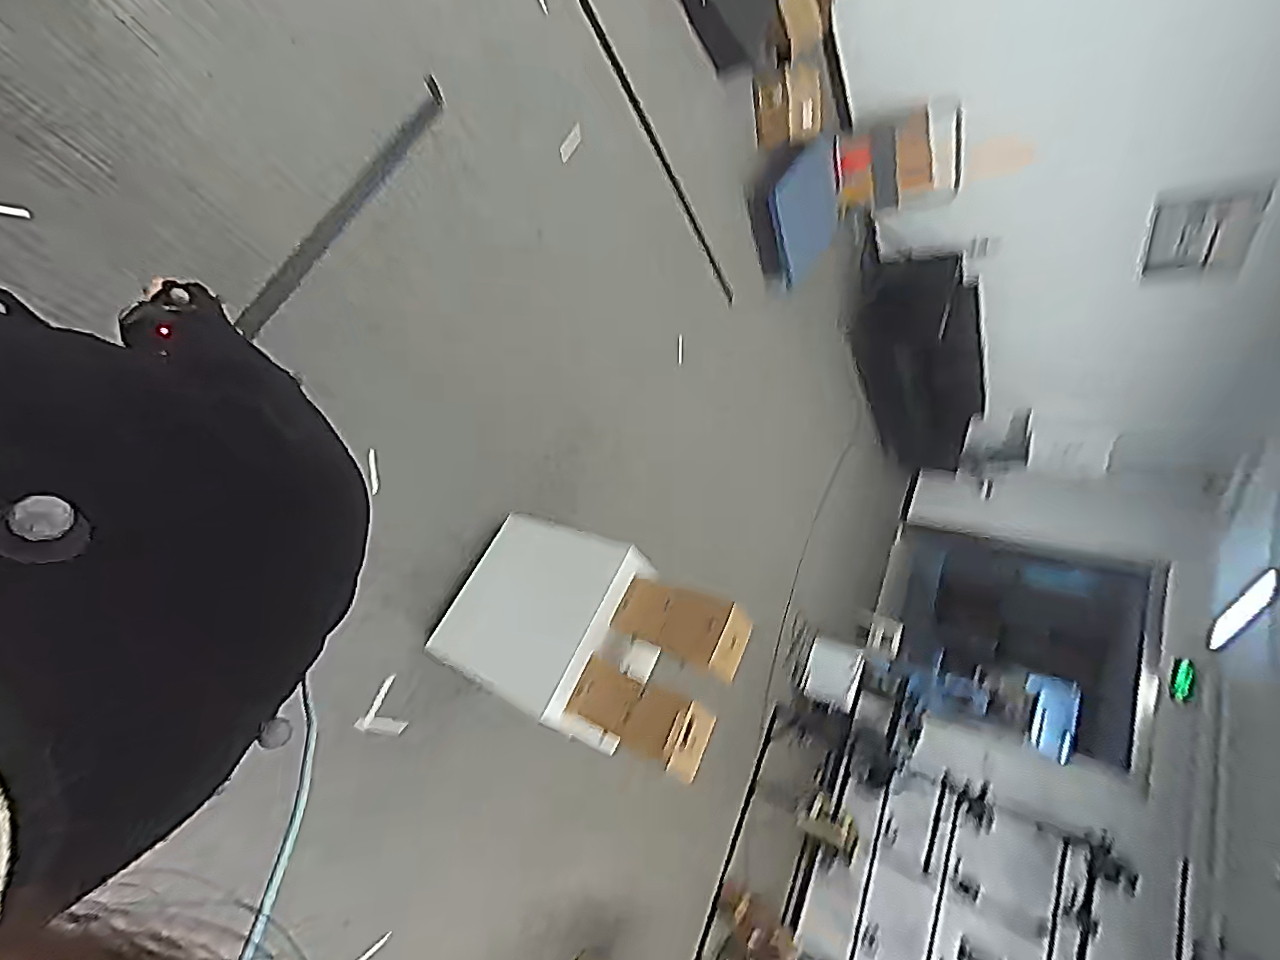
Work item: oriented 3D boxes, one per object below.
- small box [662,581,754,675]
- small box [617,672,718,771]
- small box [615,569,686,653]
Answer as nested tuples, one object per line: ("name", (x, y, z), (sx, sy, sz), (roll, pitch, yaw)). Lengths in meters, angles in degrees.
("small box", (0.185, 0.400, 1.482), (0.168, 0.176, 0.179), (52, 58, -44))
("small box", (0.070, 0.613, 1.385), (0.179, 0.176, 0.168), (50, 59, -46))
("small box", (0.057, 0.379, 1.585), (0.168, 0.176, 0.179), (-61, 140, -23))
